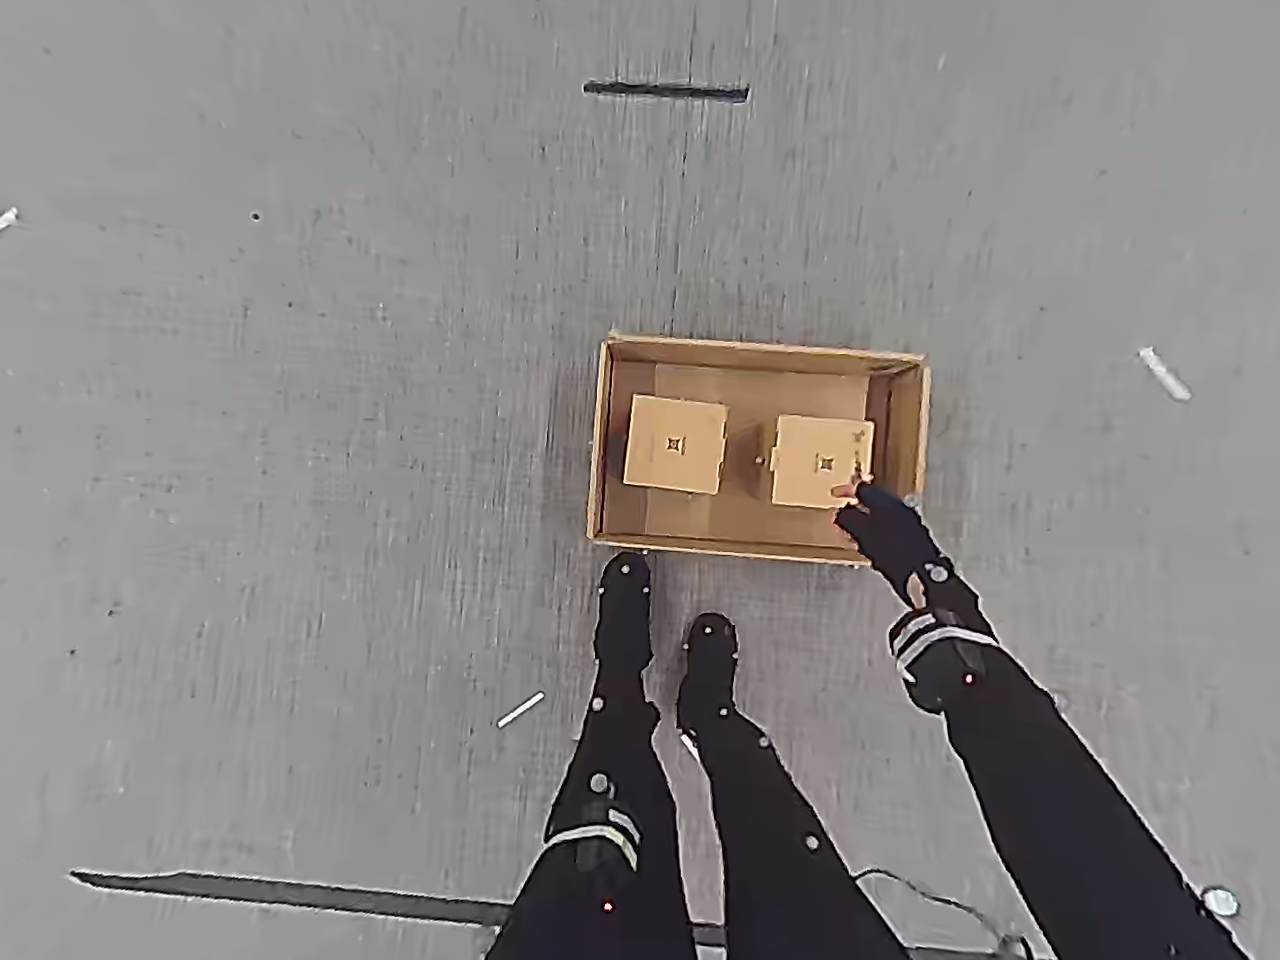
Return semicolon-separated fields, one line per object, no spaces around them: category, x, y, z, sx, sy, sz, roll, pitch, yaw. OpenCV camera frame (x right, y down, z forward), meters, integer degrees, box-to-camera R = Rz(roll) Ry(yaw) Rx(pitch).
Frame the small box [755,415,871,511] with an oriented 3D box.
small box;0.328;-0.030;1.060;0.179;0.176;0.168;4;90;2

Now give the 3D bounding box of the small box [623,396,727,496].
small box;0.063;-0.062;1.061;0.179;0.176;0.168;7;89;0
